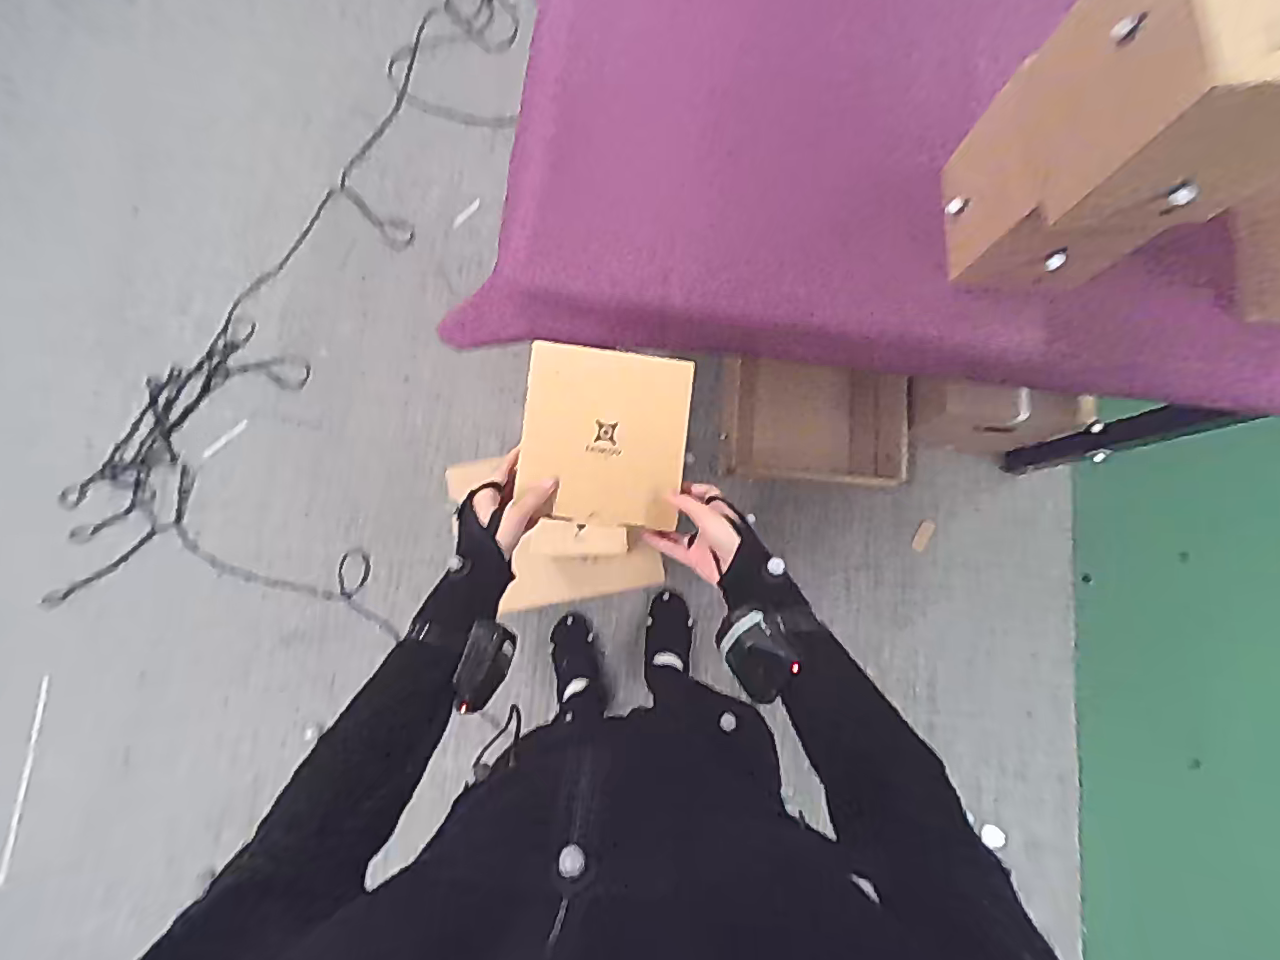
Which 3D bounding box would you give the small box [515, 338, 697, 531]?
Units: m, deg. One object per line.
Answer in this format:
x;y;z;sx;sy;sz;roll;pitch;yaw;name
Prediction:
-0.042;-0.042;0.616;0.168;0.176;0.179;7;88;-6;small box

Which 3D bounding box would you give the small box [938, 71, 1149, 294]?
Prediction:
0.487;-0.344;0.654;0.168;0.176;0.179;2;80;0;small box

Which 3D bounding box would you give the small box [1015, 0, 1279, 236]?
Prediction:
0.479;-0.351;0.487;0.168;0.176;0.179;-4;80;0;small box
